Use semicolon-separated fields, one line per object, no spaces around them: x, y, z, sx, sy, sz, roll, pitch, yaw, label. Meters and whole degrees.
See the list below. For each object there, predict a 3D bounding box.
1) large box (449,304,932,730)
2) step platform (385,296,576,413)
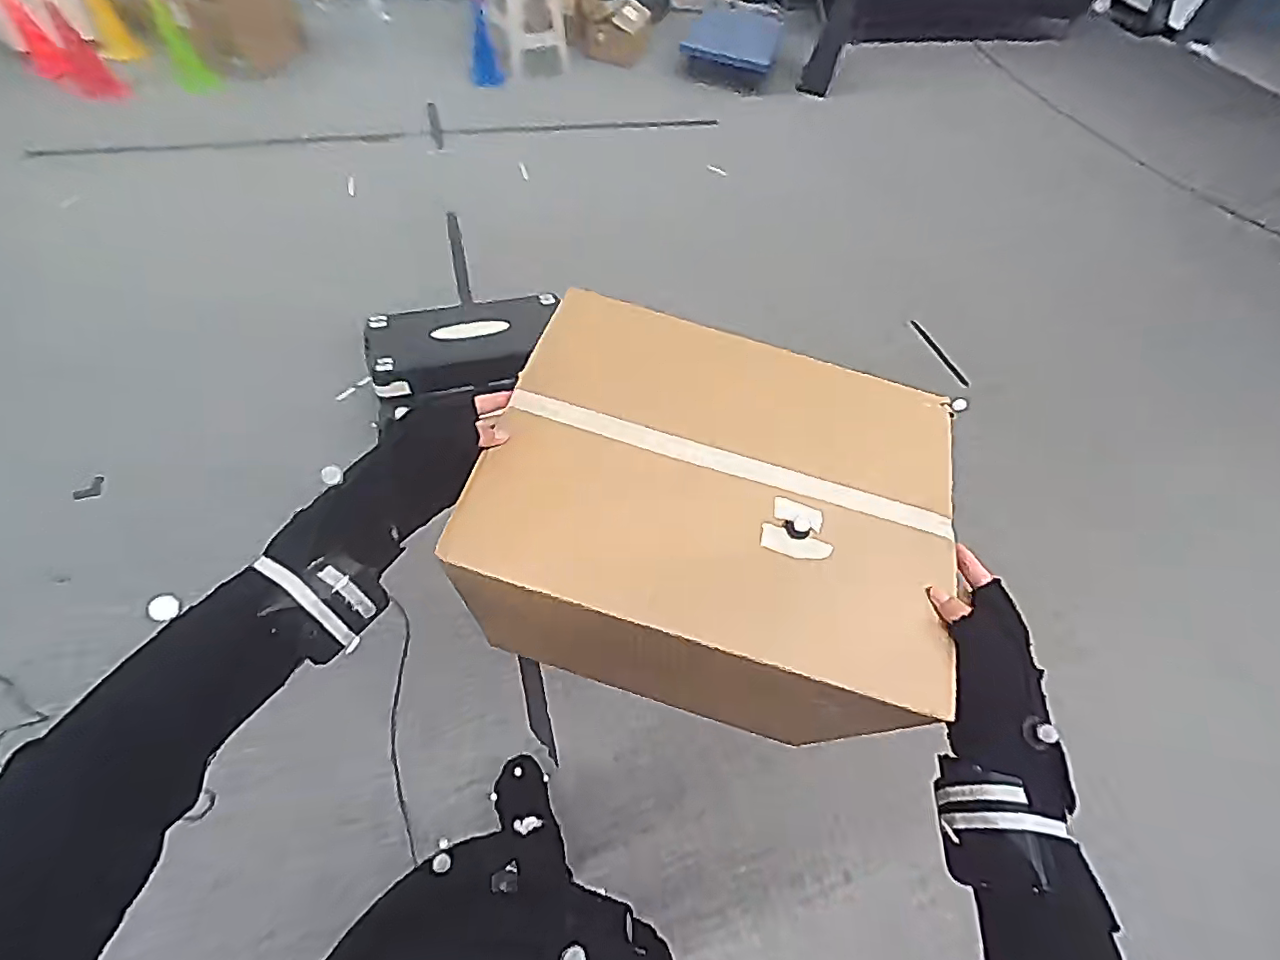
0.054;0.061;0.625;0.408;0.320;0.320;17;61;2;large box
-0.517;-0.451;1.892;0.684;0.204;0.286;-13;59;-15;step platform
